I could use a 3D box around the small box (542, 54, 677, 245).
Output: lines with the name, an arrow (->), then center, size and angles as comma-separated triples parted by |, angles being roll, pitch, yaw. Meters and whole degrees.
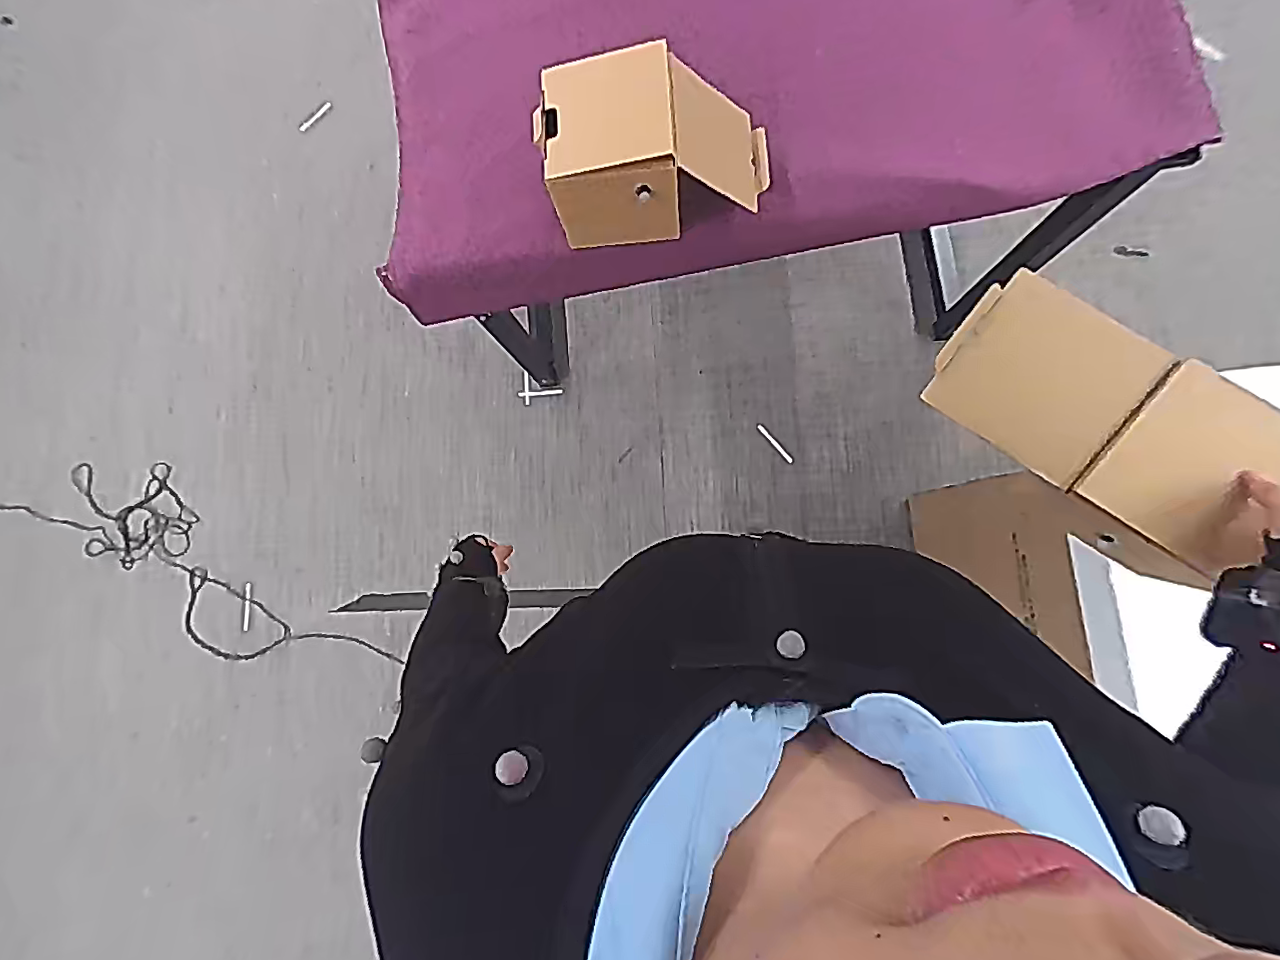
small box -> -0.036, -0.468, 0.790 | 0.179, 0.176, 0.168 | -3, 82, 6
